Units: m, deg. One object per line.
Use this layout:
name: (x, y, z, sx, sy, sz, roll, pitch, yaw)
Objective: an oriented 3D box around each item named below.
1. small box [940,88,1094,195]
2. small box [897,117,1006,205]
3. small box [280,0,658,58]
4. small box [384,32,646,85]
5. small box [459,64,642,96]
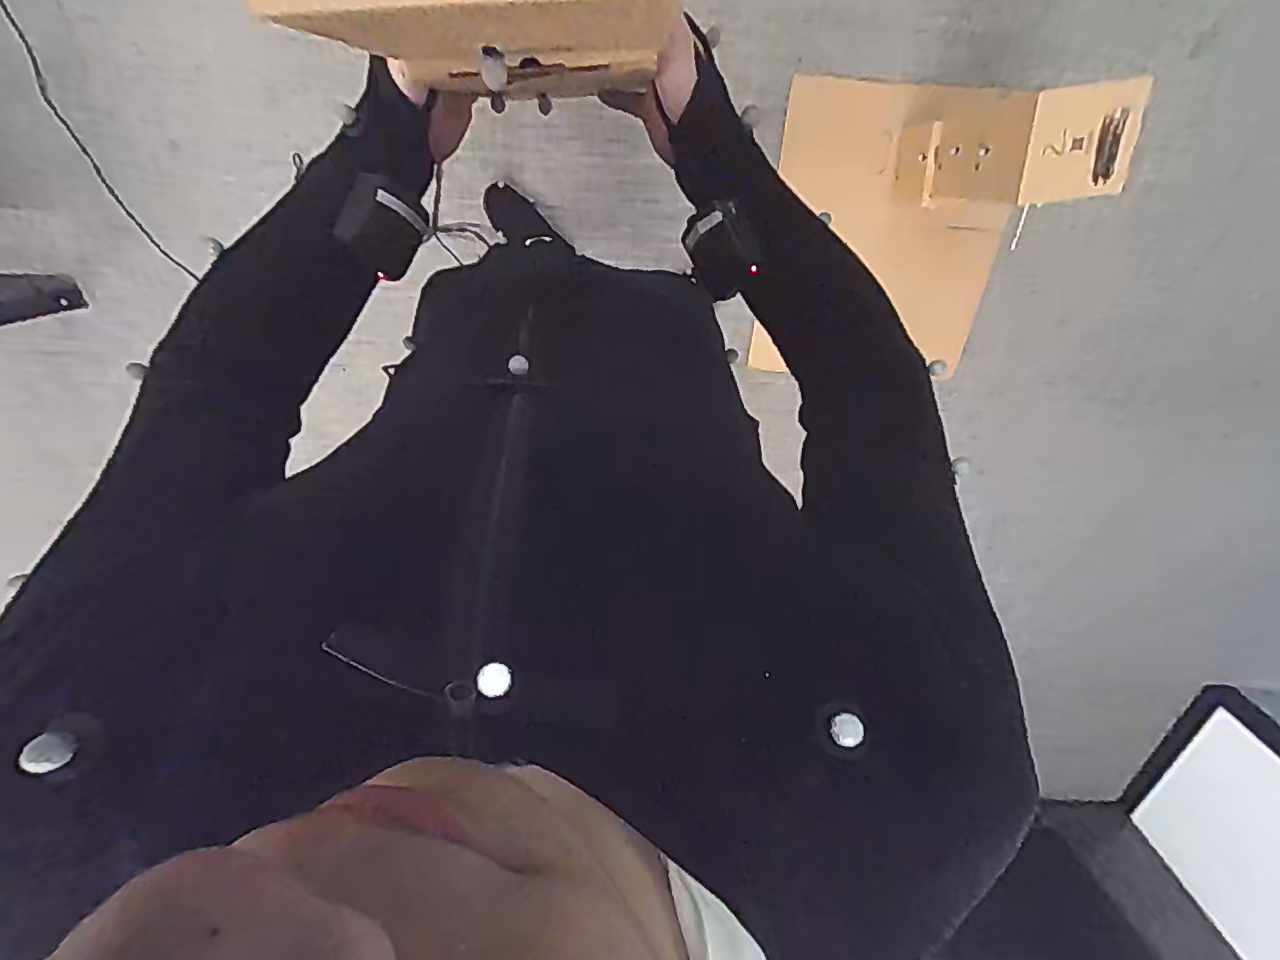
small box: (0.736, -0.669, 1.083, 0.179, 0.176, 0.168, -4, 120, 1)
small box: (0.720, -0.732, 1.236, 0.179, 0.176, 0.168, -4, 119, 2)
small box: (-0.077, -0.293, 0.217, 0.168, 0.176, 0.179, -2, 123, 1)
small box: (-0.081, -0.375, 0.358, 0.168, 0.176, 0.179, -3, 122, 1)
small box: (-0.083, -0.464, 0.497, 0.168, 0.176, 0.179, -3, 123, 1)
